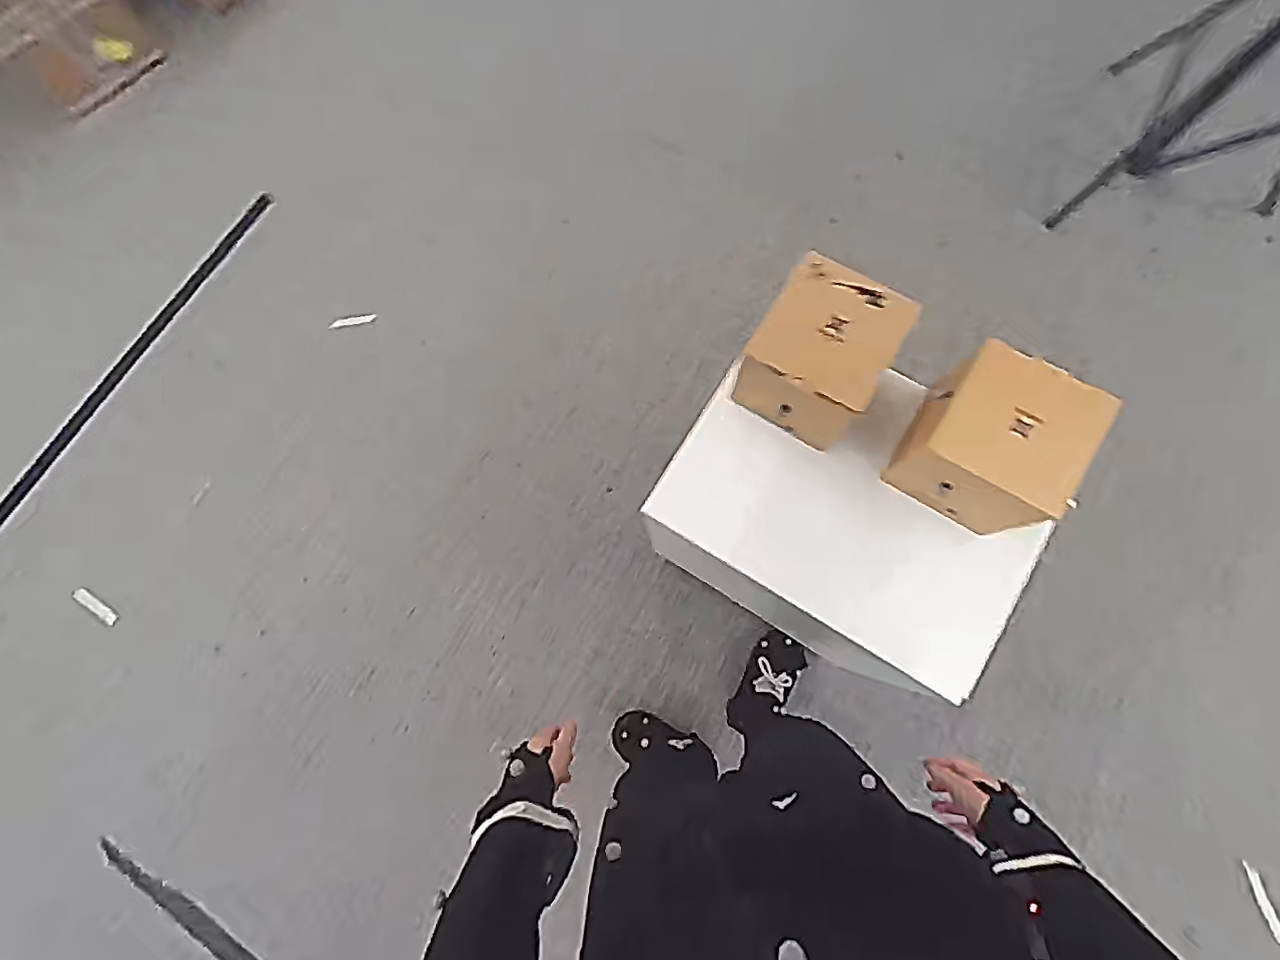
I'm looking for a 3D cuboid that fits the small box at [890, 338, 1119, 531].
[{"bbox_3d":[0.467,-0.049,0.726,0.168,0.176,0.179,32,81,10],"label":"small box"}]

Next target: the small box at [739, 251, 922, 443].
[{"bbox_3d":[0.254,-0.175,0.768,0.168,0.176,0.179,32,82,9],"label":"small box"}]
